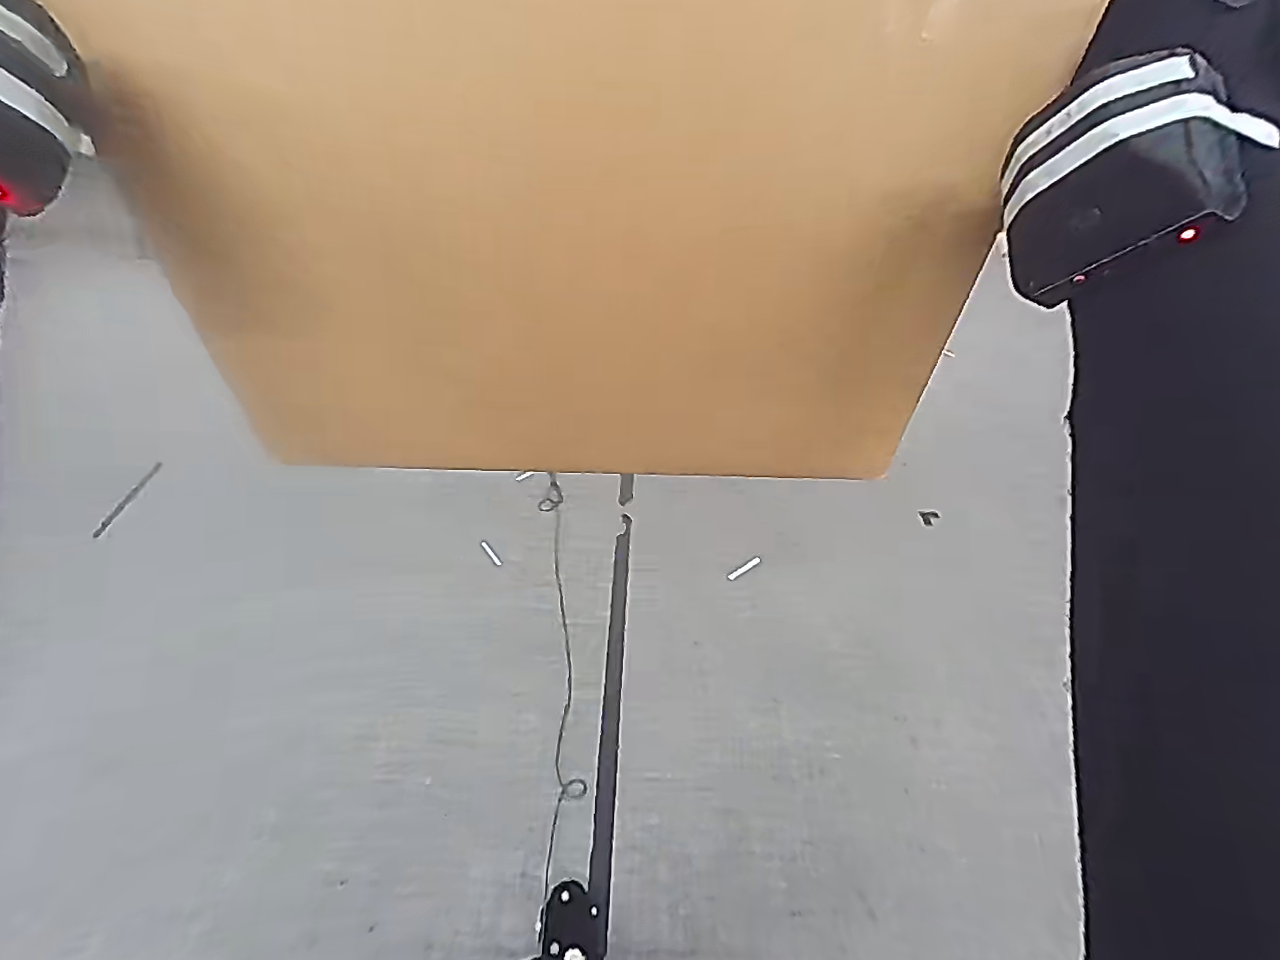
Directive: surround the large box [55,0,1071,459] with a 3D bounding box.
[{"bbox_3d":[-0.036,-0.226,0.370,0.408,0.320,0.320,2,43,-4],"label":"large box"}]
